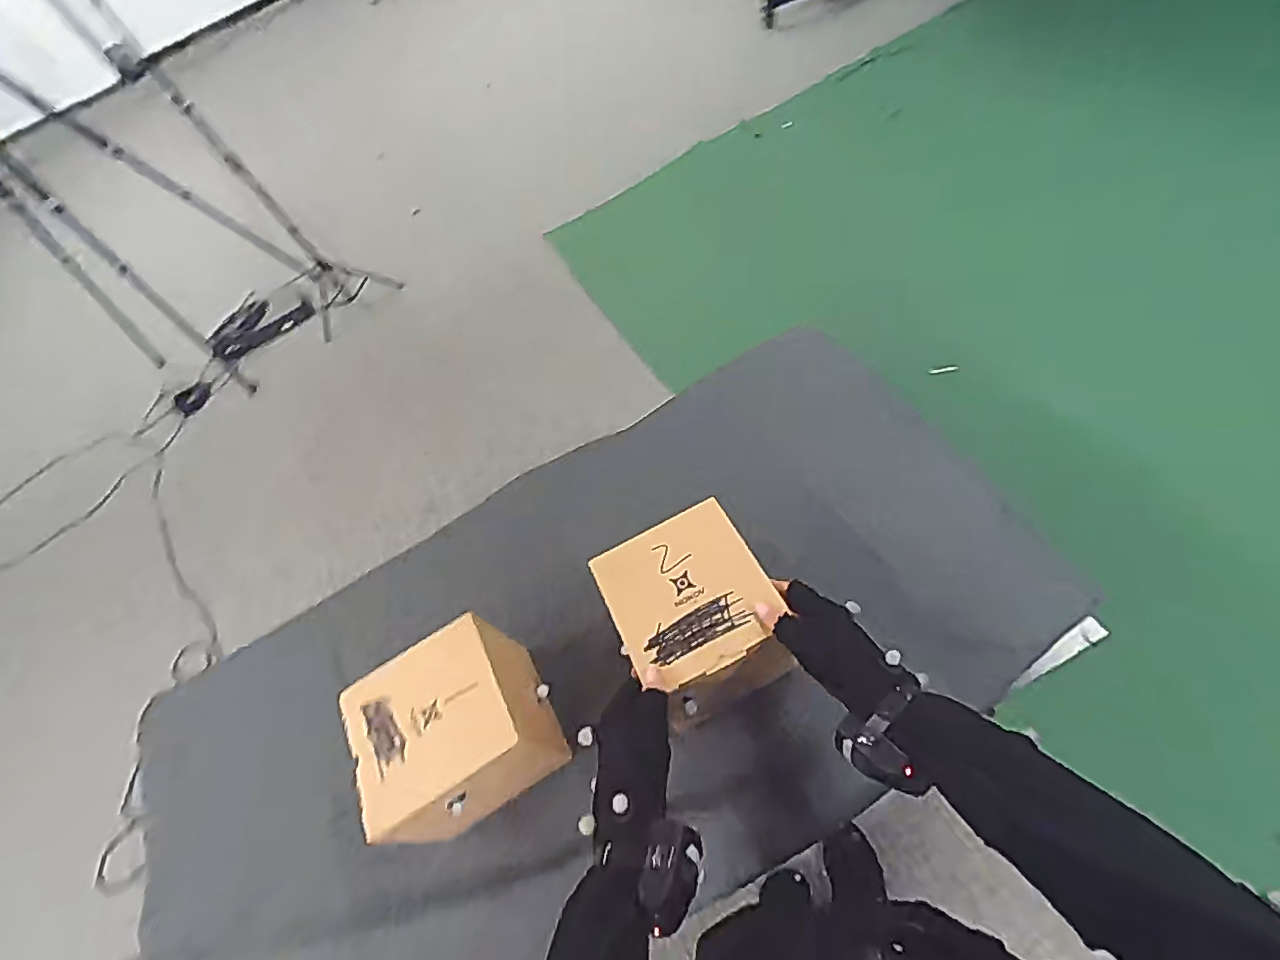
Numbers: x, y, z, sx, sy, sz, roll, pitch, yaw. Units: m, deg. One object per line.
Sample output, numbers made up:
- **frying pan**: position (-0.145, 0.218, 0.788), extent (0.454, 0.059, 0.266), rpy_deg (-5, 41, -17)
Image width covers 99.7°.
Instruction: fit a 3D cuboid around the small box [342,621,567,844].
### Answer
- **small box**: position (-0.216, 0.307, 0.651), extent (0.179, 0.176, 0.168), rpy_deg (-31, 55, -6)
